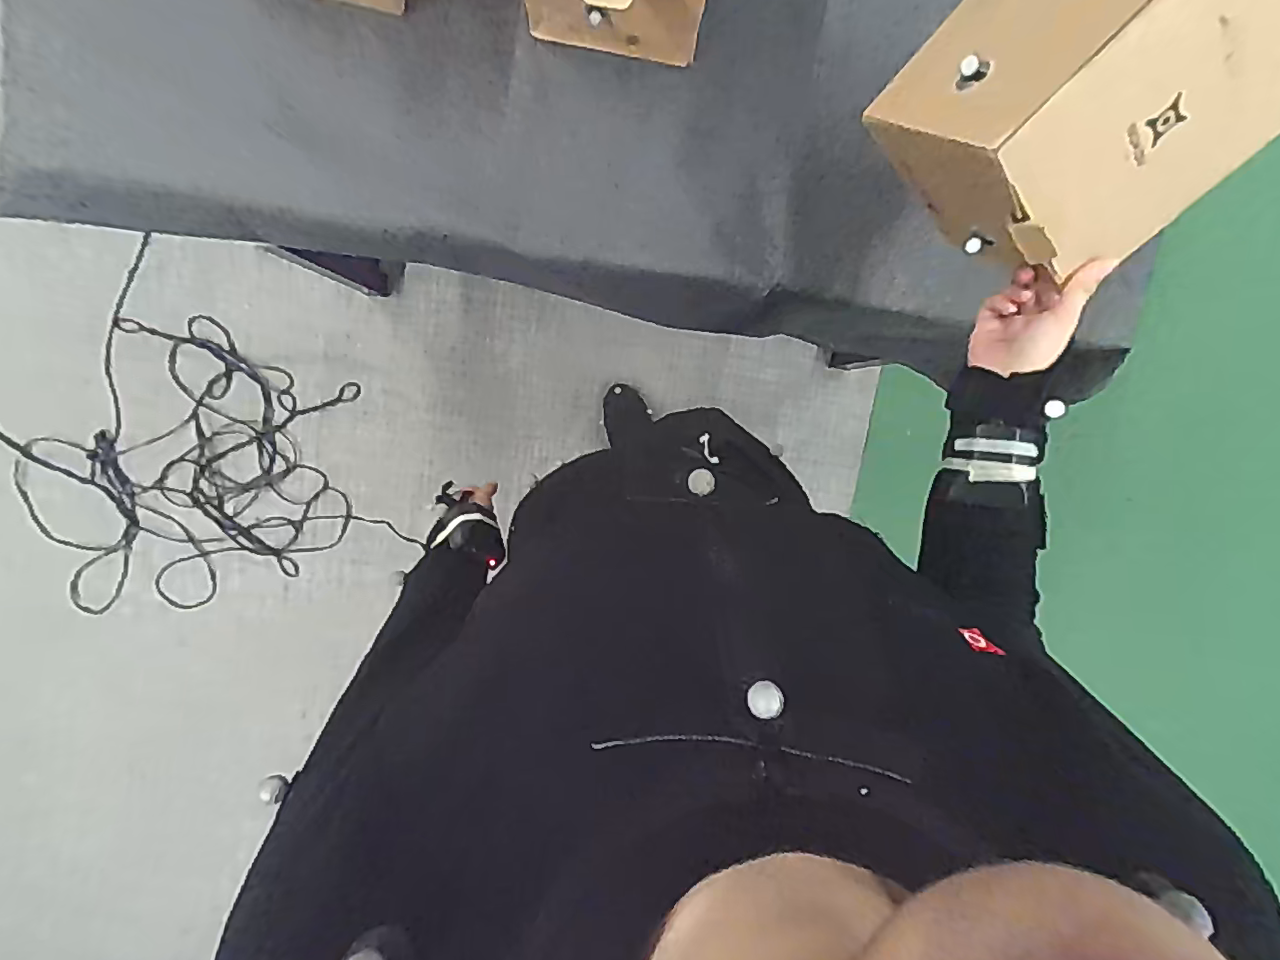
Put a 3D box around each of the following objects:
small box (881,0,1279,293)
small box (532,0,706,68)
[{"bbox_3d":[0.317,-0.286,0.413,0.168,0.176,0.179,28,117,-33],"label":"small box"},{"bbox_3d":[-0.012,-0.509,0.461,0.168,0.176,0.179,8,98,-5],"label":"small box"}]
